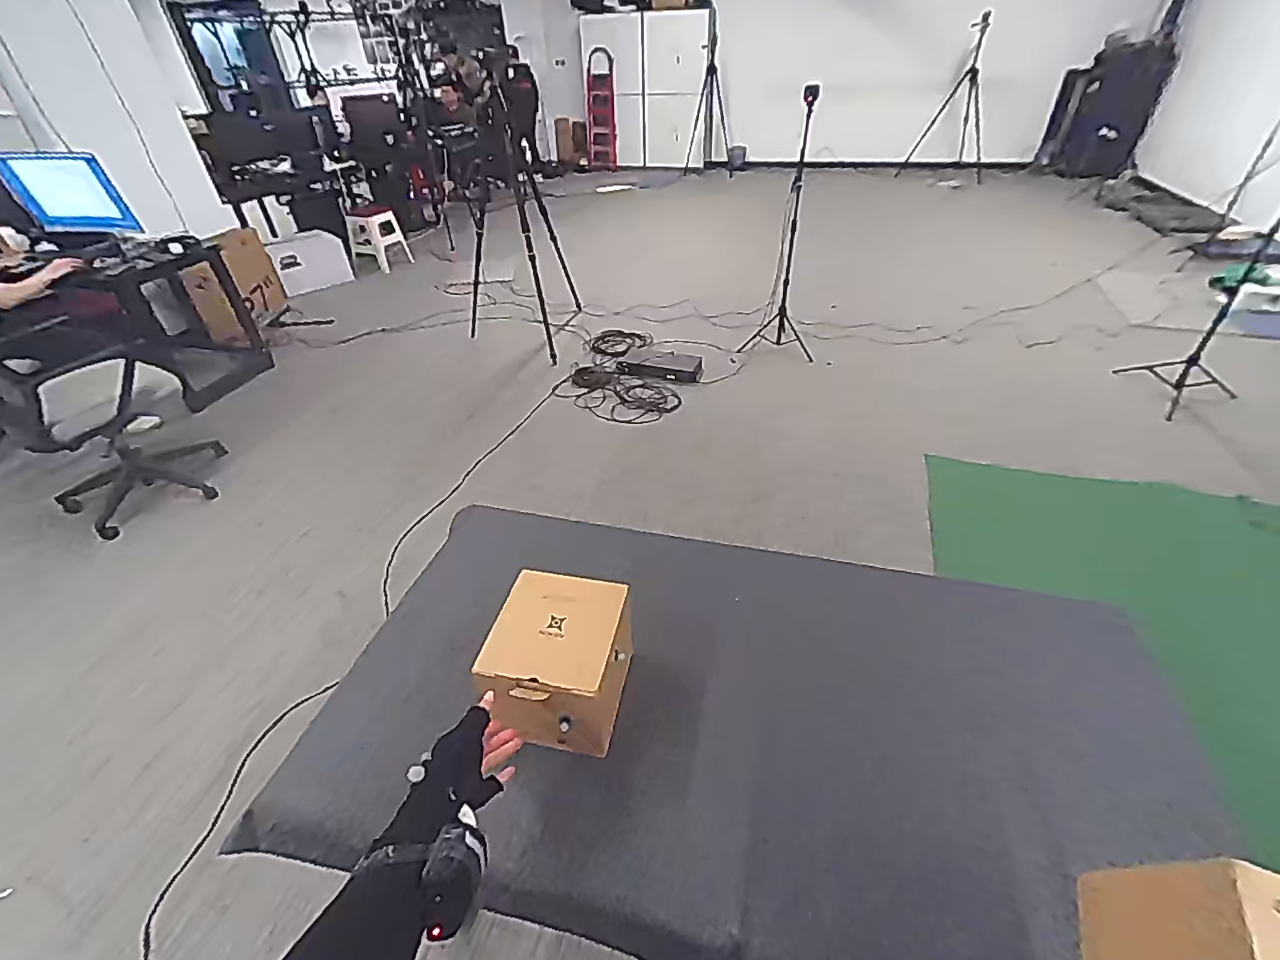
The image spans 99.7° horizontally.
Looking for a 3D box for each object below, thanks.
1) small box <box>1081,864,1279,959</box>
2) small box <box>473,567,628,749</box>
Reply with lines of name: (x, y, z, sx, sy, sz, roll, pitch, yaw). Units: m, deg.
small box: (0.407, 0.369, 0.325, 0.168, 0.176, 0.179, 17, 55, 15)
small box: (-0.113, 0.254, 0.775, 0.168, 0.176, 0.179, 7, 38, 9)
